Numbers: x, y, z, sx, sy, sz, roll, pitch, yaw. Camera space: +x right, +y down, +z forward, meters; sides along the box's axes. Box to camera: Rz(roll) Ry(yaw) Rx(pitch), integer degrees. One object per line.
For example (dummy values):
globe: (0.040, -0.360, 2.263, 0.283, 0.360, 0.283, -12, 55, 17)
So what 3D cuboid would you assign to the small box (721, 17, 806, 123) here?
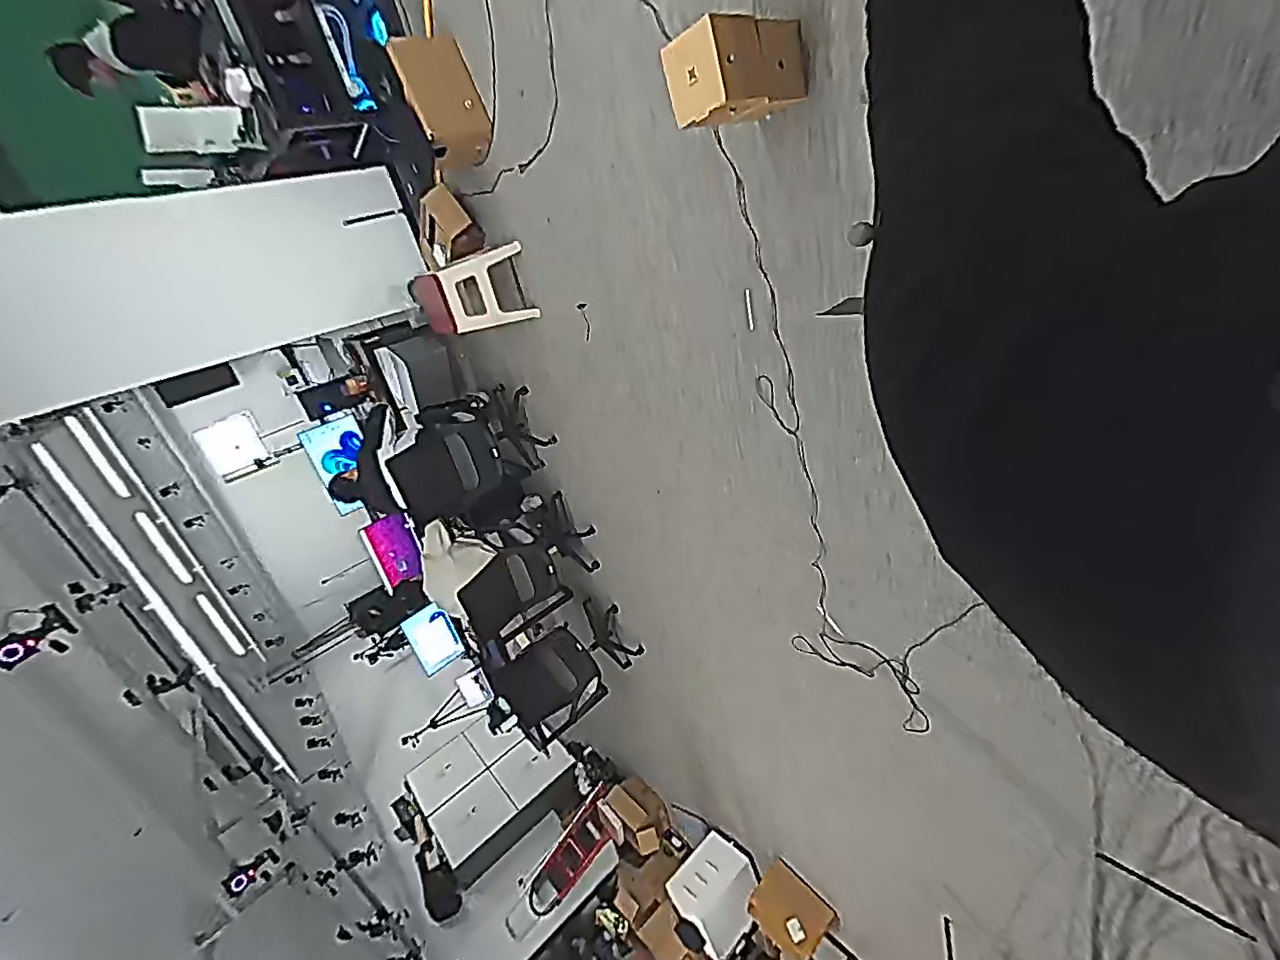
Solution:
small box: (0.309, -1.059, 1.404, 0.168, 0.176, 0.179, 13, 127, 50)

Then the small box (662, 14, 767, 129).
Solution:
small box: (0.187, -0.993, 1.318, 0.168, 0.176, 0.179, 8, 121, 51)
